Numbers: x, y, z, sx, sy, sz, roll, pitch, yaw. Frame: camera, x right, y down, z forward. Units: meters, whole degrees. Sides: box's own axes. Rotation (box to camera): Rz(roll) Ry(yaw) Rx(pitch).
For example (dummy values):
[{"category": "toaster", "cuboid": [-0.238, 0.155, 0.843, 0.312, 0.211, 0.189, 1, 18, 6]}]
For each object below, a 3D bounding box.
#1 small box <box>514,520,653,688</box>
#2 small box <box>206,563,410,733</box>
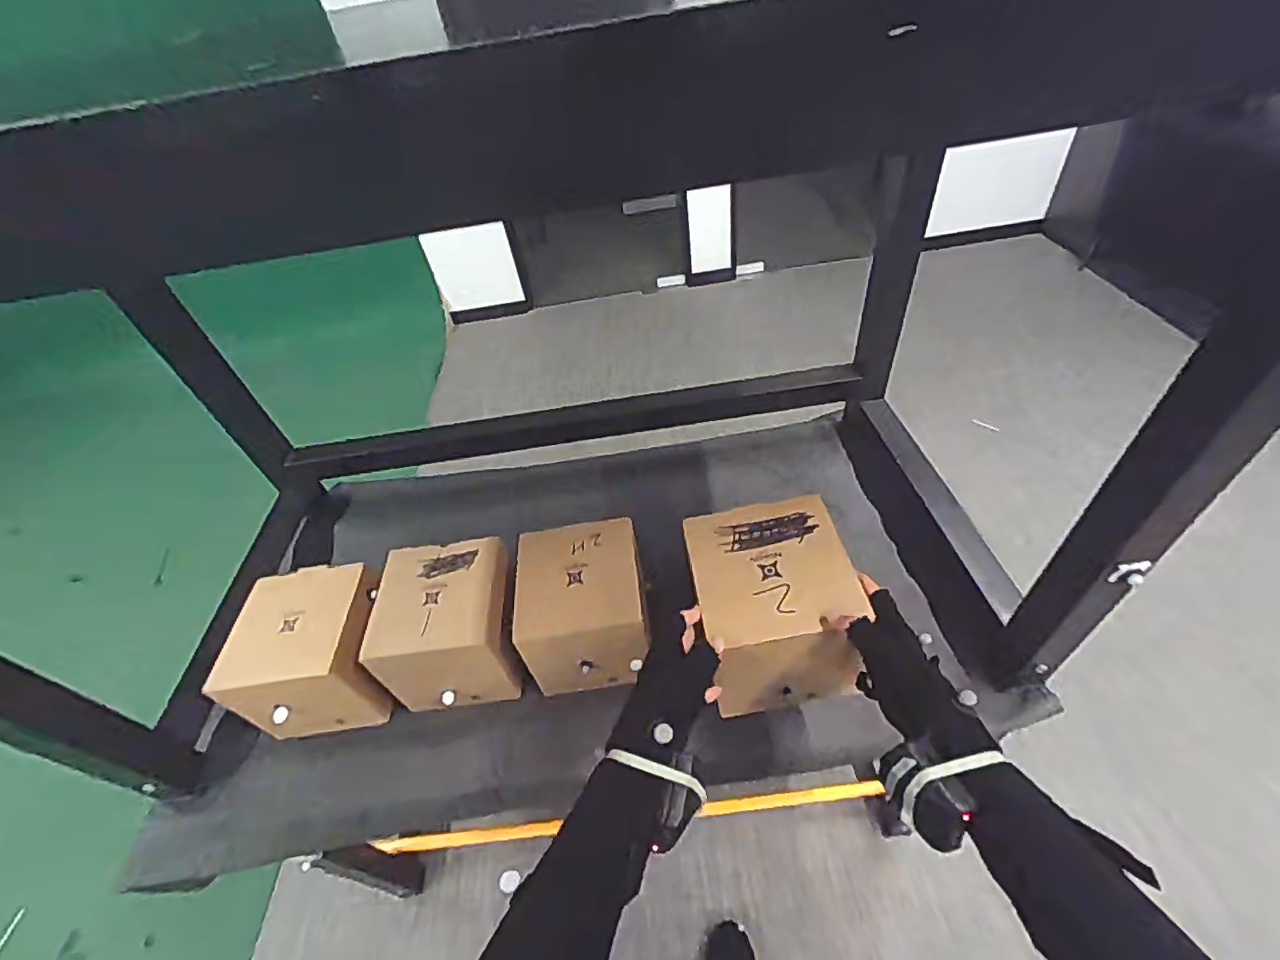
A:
[{"category": "small box", "cuboid": [-0.074, 0.184, 0.780, 0.168, 0.176, 0.179, -7, 45, 0]}, {"category": "small box", "cuboid": [-0.459, 0.249, 0.786, 0.168, 0.176, 0.179, -9, 44, 1]}]
